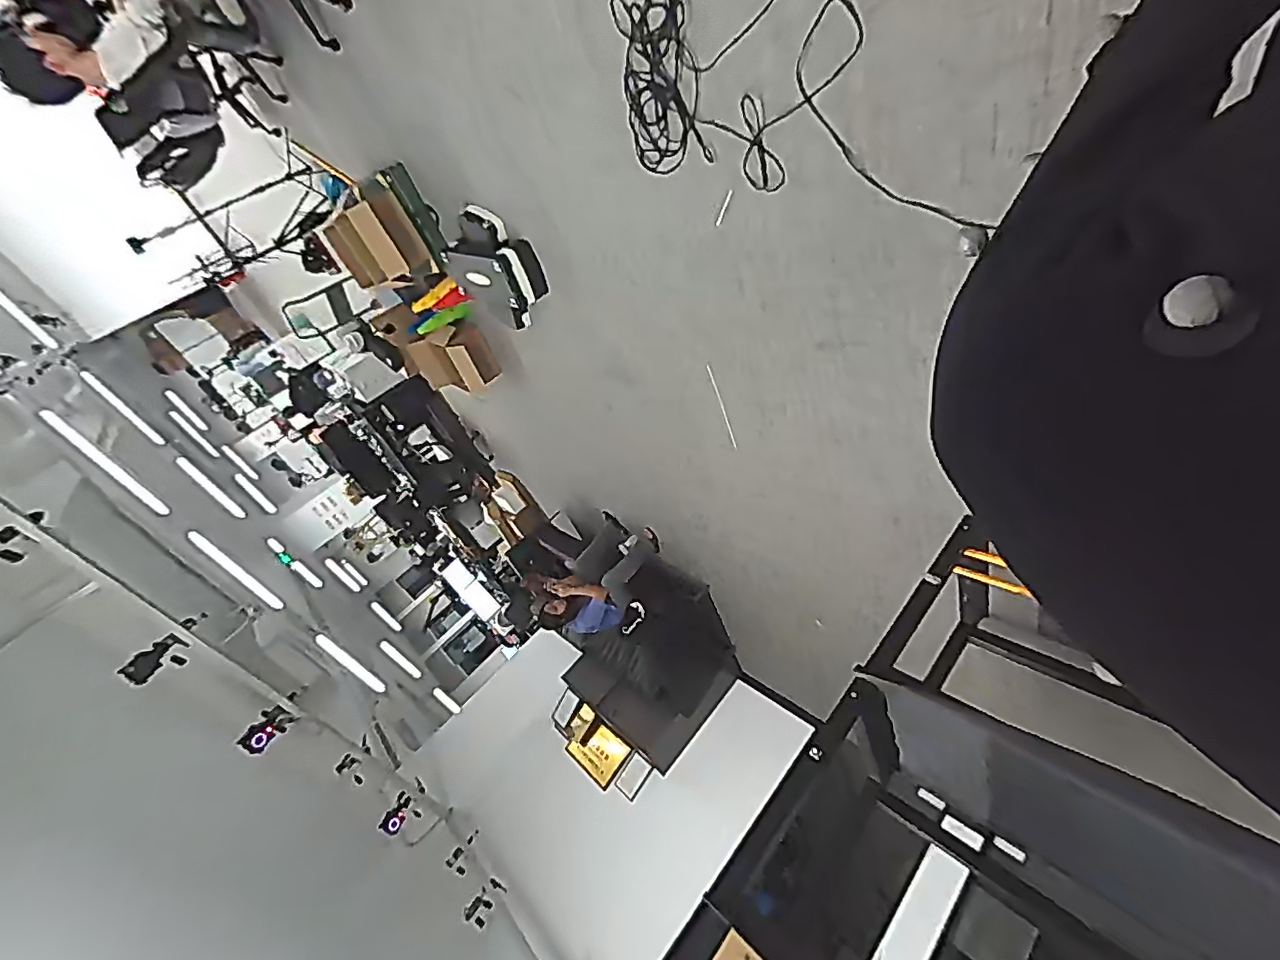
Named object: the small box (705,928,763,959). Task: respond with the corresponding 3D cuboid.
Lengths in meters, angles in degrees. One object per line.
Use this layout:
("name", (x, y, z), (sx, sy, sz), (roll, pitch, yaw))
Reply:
("small box", (0.238, 1.219, 1.286), (0.168, 0.176, 0.179), (22, 147, 44))
